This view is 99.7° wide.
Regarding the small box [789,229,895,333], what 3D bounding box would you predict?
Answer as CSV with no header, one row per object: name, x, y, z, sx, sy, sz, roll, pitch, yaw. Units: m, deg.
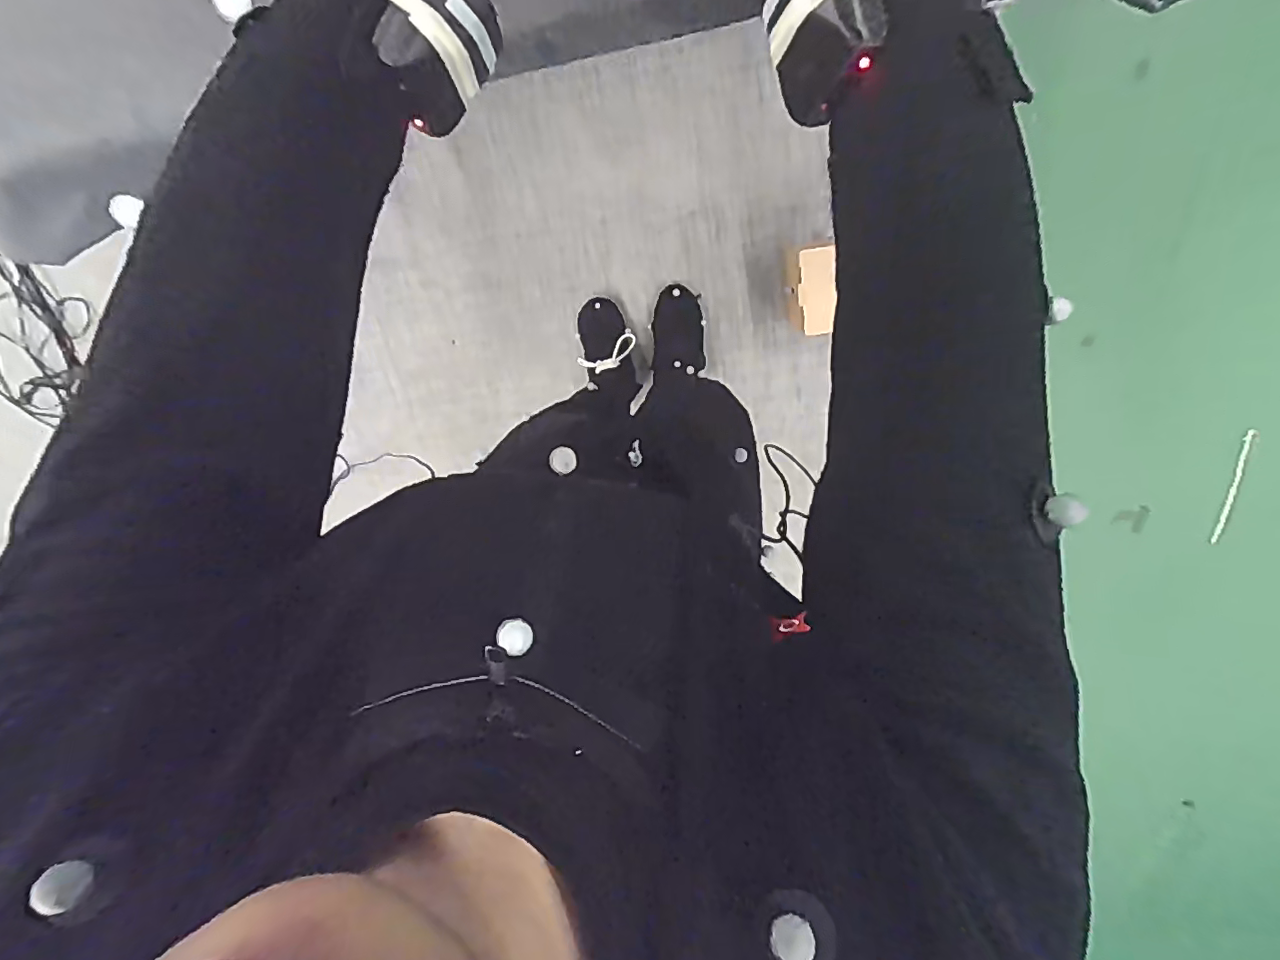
small box,0.406,-0.410,1.109,0.179,0.176,0.168,-8,114,10
